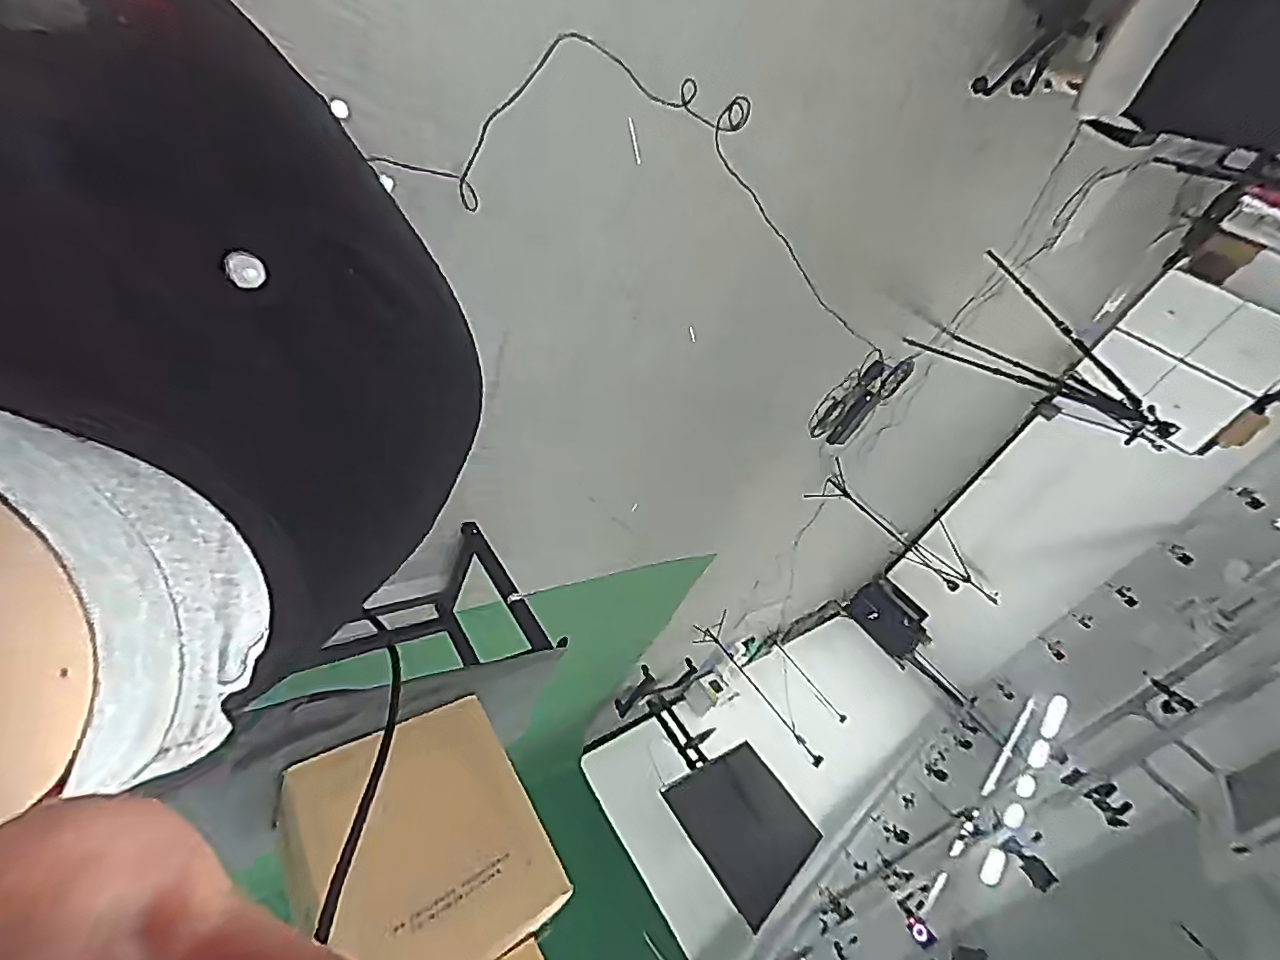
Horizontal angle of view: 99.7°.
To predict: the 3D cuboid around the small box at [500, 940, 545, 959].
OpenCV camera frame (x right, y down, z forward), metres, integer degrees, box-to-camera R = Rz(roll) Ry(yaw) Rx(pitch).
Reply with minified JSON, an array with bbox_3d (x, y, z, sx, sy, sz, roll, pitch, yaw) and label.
[{"bbox_3d":[-0.317,1.312,1.346,0.179,0.176,0.168,10,111,-51],"label":"small box"}]
